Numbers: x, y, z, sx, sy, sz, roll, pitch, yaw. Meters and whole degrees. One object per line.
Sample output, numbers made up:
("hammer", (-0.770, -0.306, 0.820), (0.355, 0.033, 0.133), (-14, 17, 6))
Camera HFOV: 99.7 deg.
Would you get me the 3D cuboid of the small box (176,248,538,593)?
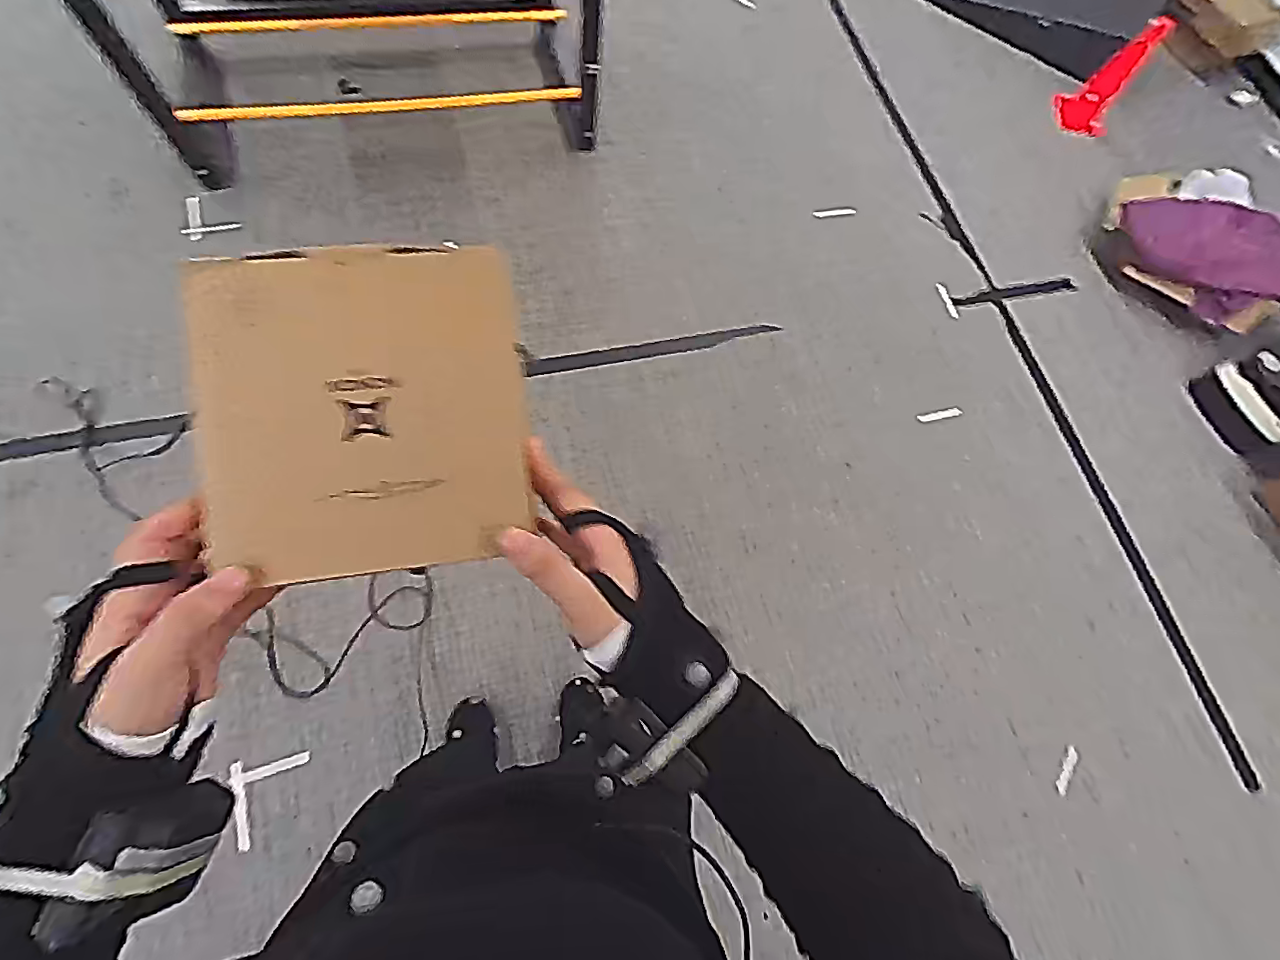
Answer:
("small box", (-0.162, -0.034, 0.369), (0.168, 0.176, 0.179), (-8, 90, -10))
